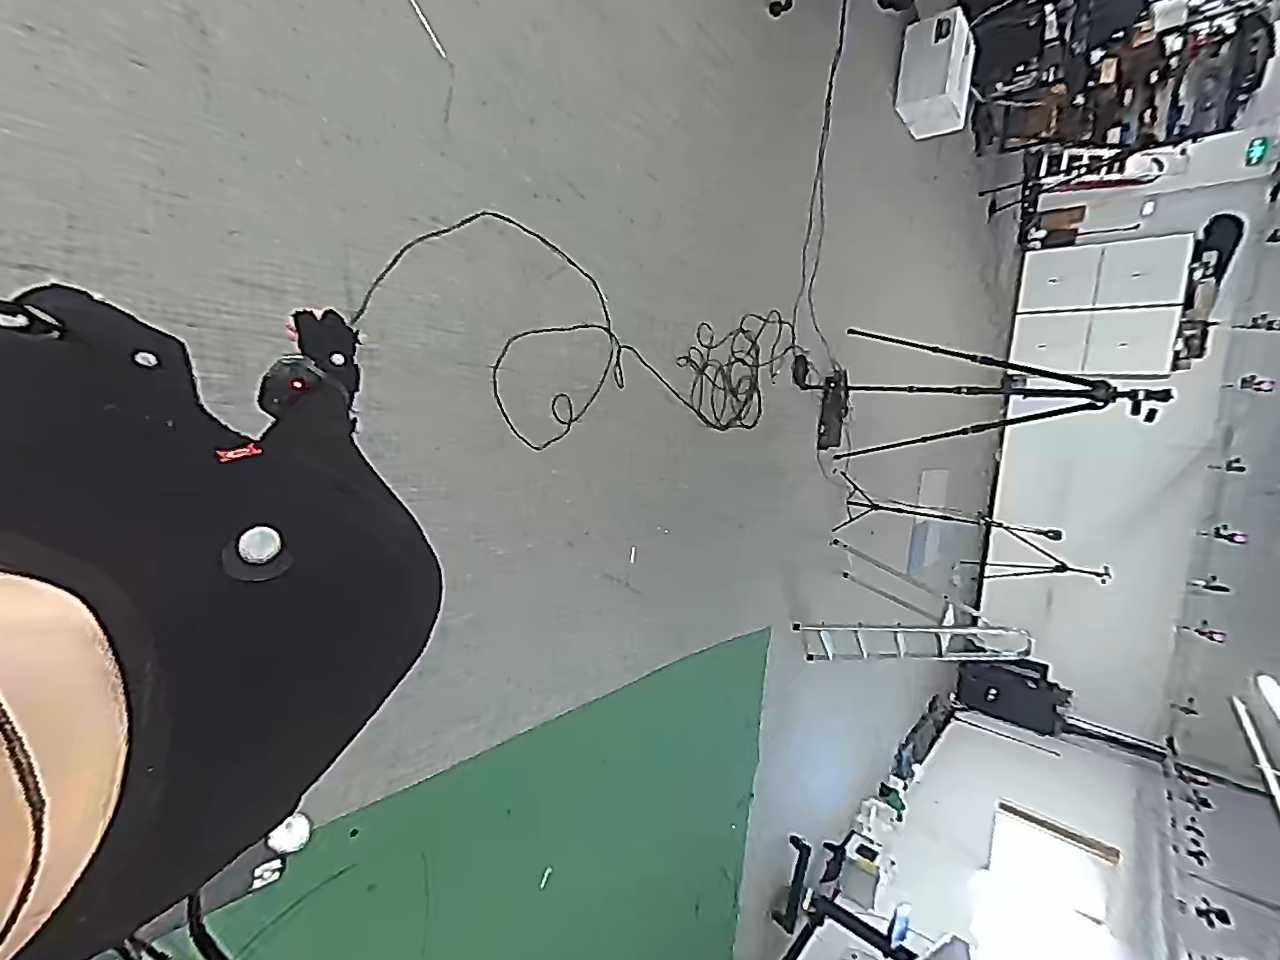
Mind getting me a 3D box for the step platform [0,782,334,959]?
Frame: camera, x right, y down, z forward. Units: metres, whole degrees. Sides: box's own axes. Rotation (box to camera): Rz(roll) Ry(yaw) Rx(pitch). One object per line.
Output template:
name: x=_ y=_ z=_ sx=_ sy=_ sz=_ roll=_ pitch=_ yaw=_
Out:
step platform: x=-0.953 y=0.842 z=0.968 sx=0.684 sy=0.204 sz=0.286 roll=-3 pitch=100 yaw=-50
